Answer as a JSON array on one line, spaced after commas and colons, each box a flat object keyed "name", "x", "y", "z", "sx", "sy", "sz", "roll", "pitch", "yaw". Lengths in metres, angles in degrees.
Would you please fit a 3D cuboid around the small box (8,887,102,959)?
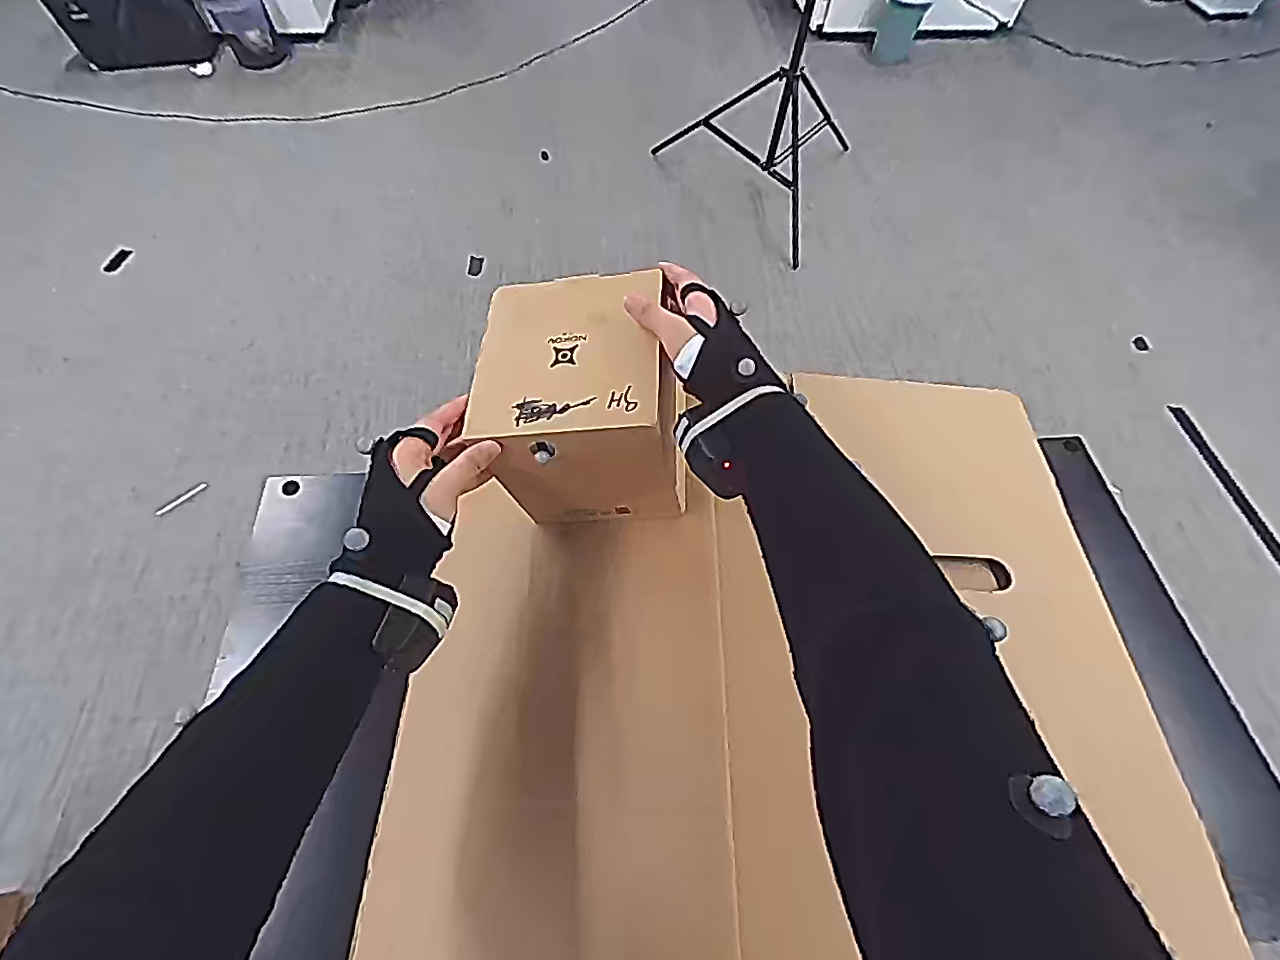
[{"name": "small box", "x": -1.154, "y": 0.868, "z": 0.988, "sx": 0.168, "sy": 0.176, "sz": 0.179, "roll": -7, "pitch": 61, "yaw": -6}]

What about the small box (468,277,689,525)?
[{"name": "small box", "x": -0.044, "y": -0.070, "z": 0.541, "sx": 0.168, "sy": 0.176, "sz": 0.179, "roll": -4, "pitch": 60, "yaw": 12}]

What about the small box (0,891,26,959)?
[{"name": "small box", "x": -1.150, "y": 0.782, "z": 0.850, "sx": 0.168, "sy": 0.176, "sz": 0.179, "roll": -9, "pitch": 60, "yaw": -8}]
